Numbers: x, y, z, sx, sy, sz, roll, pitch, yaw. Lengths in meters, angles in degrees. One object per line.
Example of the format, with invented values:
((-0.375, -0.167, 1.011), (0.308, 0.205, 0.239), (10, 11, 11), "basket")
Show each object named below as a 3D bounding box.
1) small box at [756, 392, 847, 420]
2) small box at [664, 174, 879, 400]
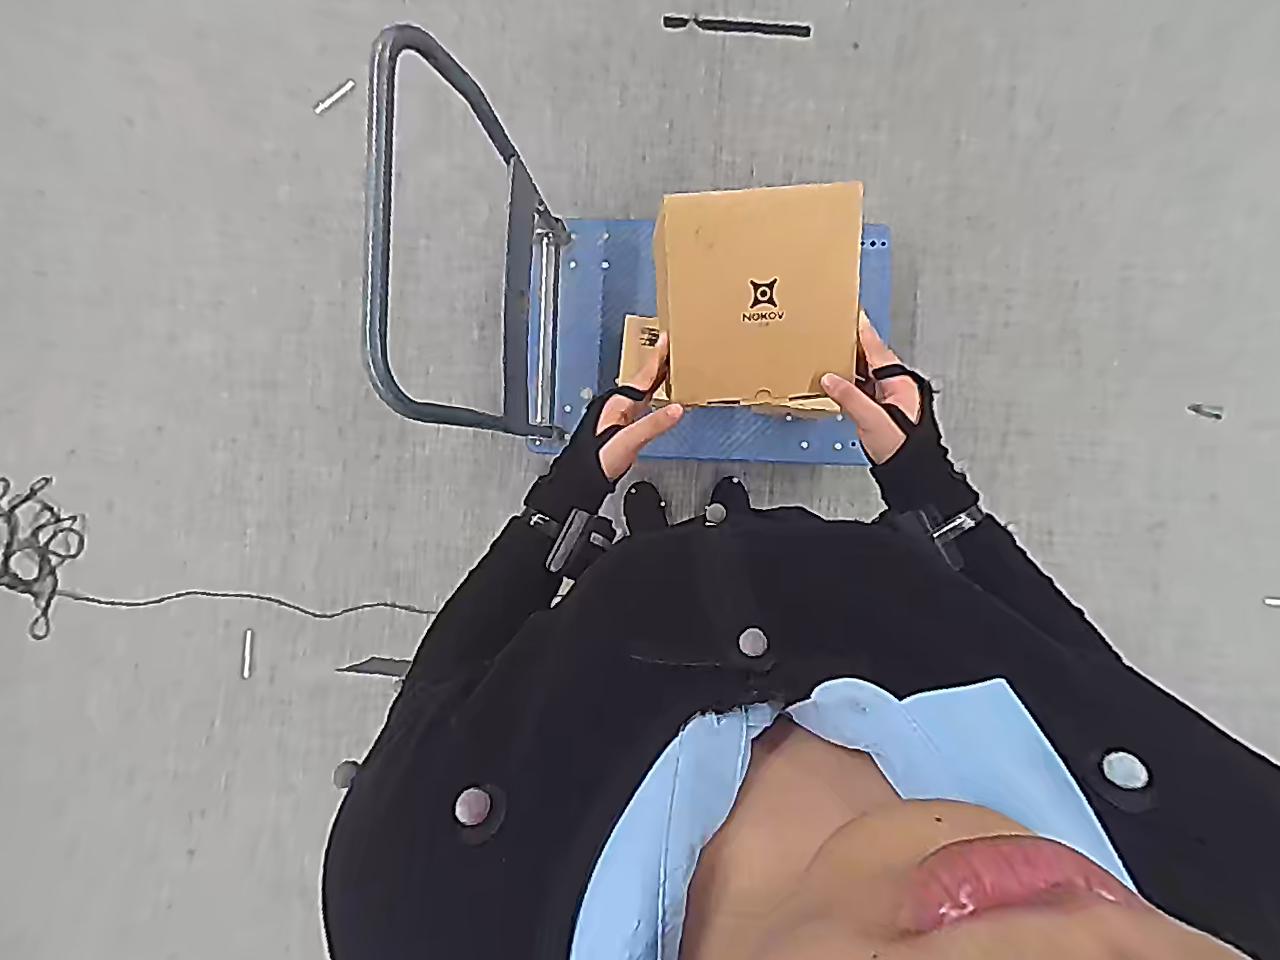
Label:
((0.362, -0.237, 1.214), (0.168, 0.176, 0.179), (6, 91, 4), "small box")
((0.113, -0.178, 0.531), (0.168, 0.176, 0.179), (-4, 106, 0), "small box")
